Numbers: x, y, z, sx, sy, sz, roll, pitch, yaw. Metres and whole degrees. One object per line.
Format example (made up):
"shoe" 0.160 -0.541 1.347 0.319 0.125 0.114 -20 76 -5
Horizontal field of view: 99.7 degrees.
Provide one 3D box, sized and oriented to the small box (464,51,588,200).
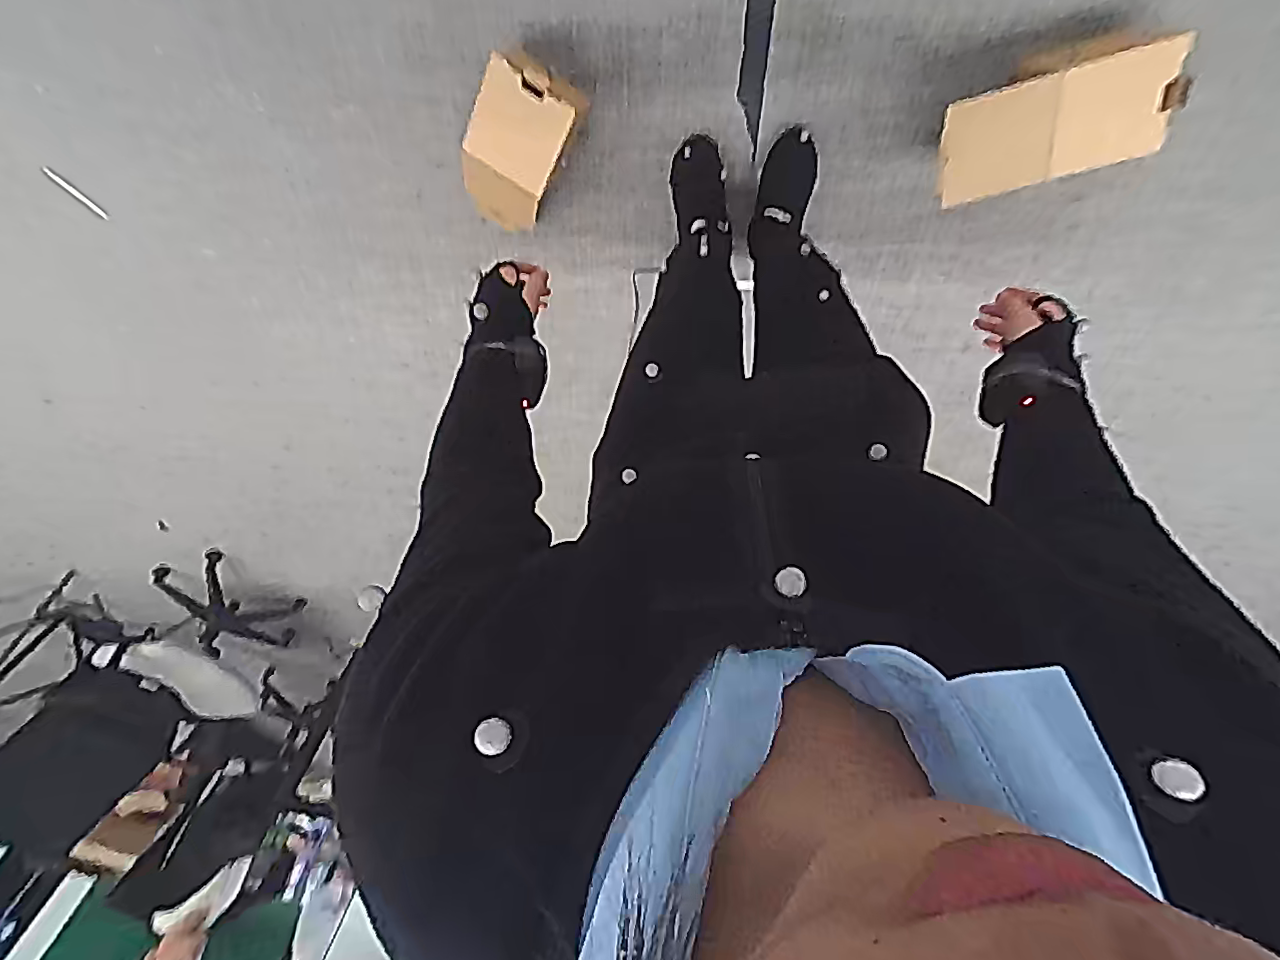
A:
"small box" -0.215 -0.692 1.055 0.168 0.176 0.179 27 129 -15
